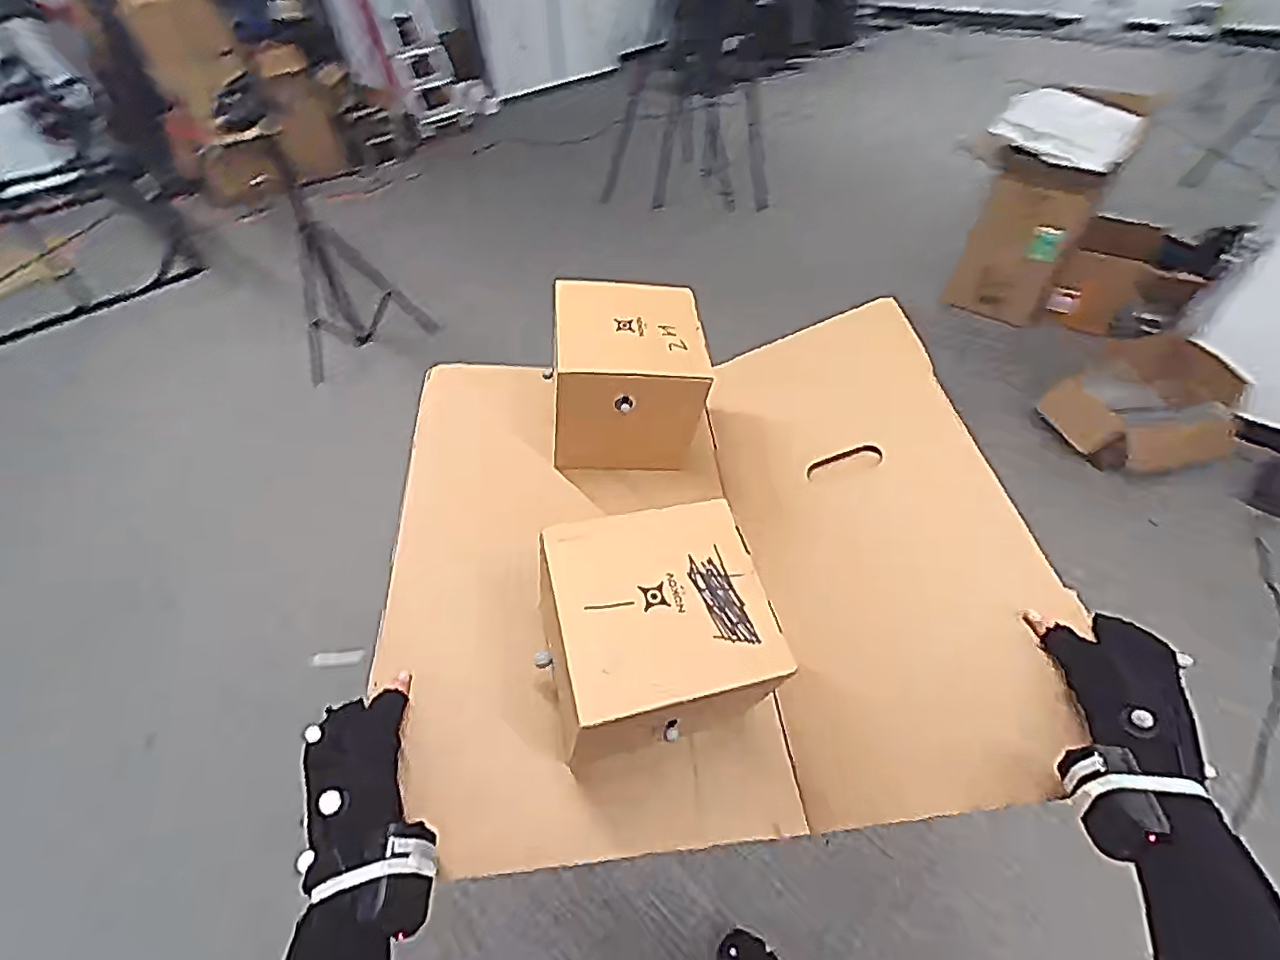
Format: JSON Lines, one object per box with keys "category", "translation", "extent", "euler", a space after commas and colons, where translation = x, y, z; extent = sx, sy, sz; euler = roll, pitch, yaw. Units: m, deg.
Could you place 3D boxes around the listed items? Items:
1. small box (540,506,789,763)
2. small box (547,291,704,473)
{"category": "small box", "translation": [0.005, 0.148, 0.512], "extent": [0.179, 0.176, 0.168], "euler": [-9, 56, -16]}
{"category": "small box", "translation": [-0.032, -0.122, 0.704], "extent": [0.179, 0.176, 0.168], "euler": [0, 54, -11]}
